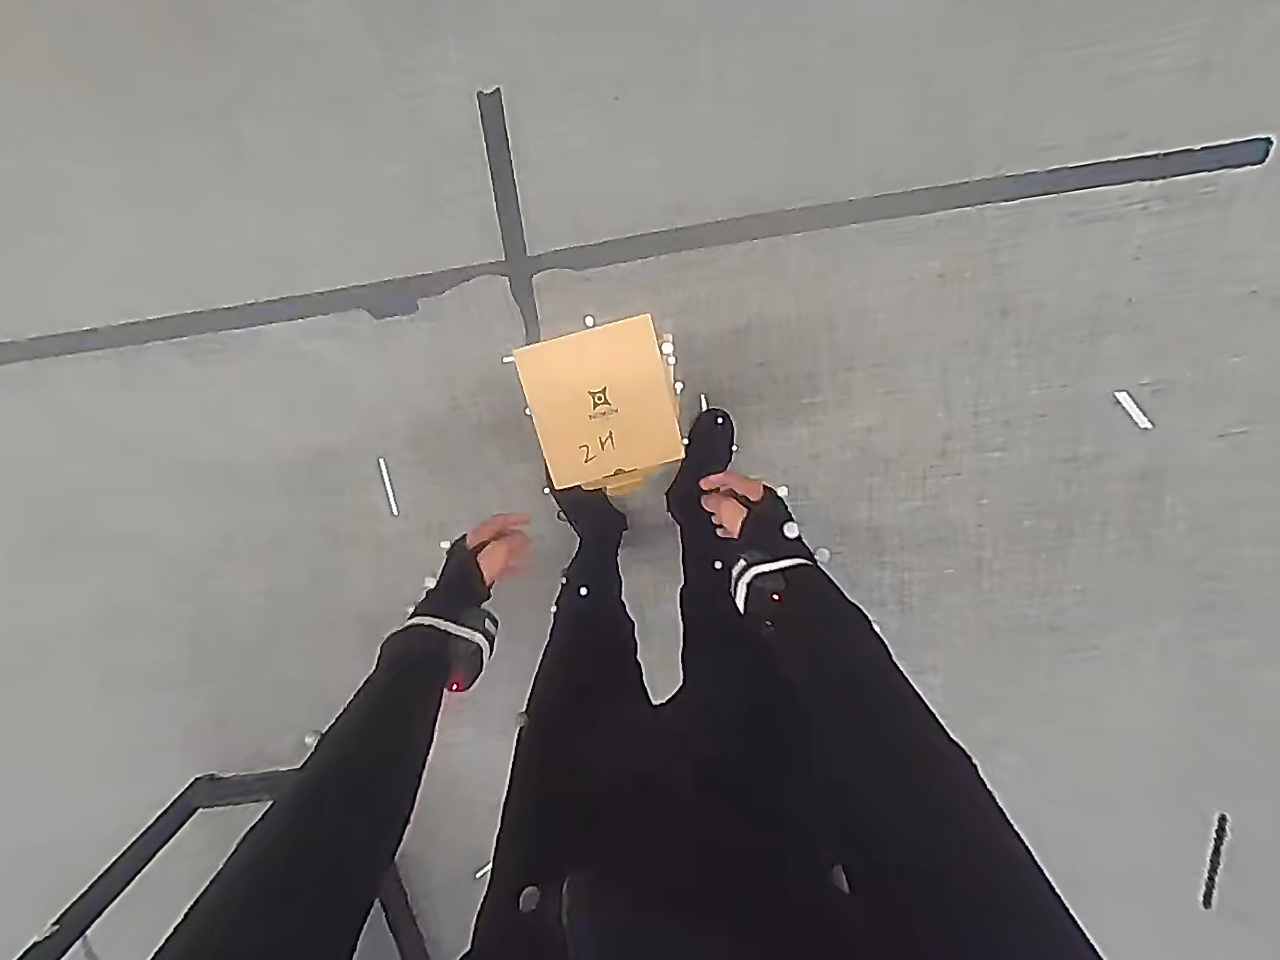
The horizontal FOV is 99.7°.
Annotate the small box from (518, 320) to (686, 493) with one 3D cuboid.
[{"bbox_3d":[-0.042,-0.103,0.712,0.168,0.176,0.179,-14,106,5],"label":"small box"}]

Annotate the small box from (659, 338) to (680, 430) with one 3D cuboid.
[{"bbox_3d":[-0.014,-0.178,1.032,0.168,0.176,0.179,-4,107,1],"label":"small box"}]
